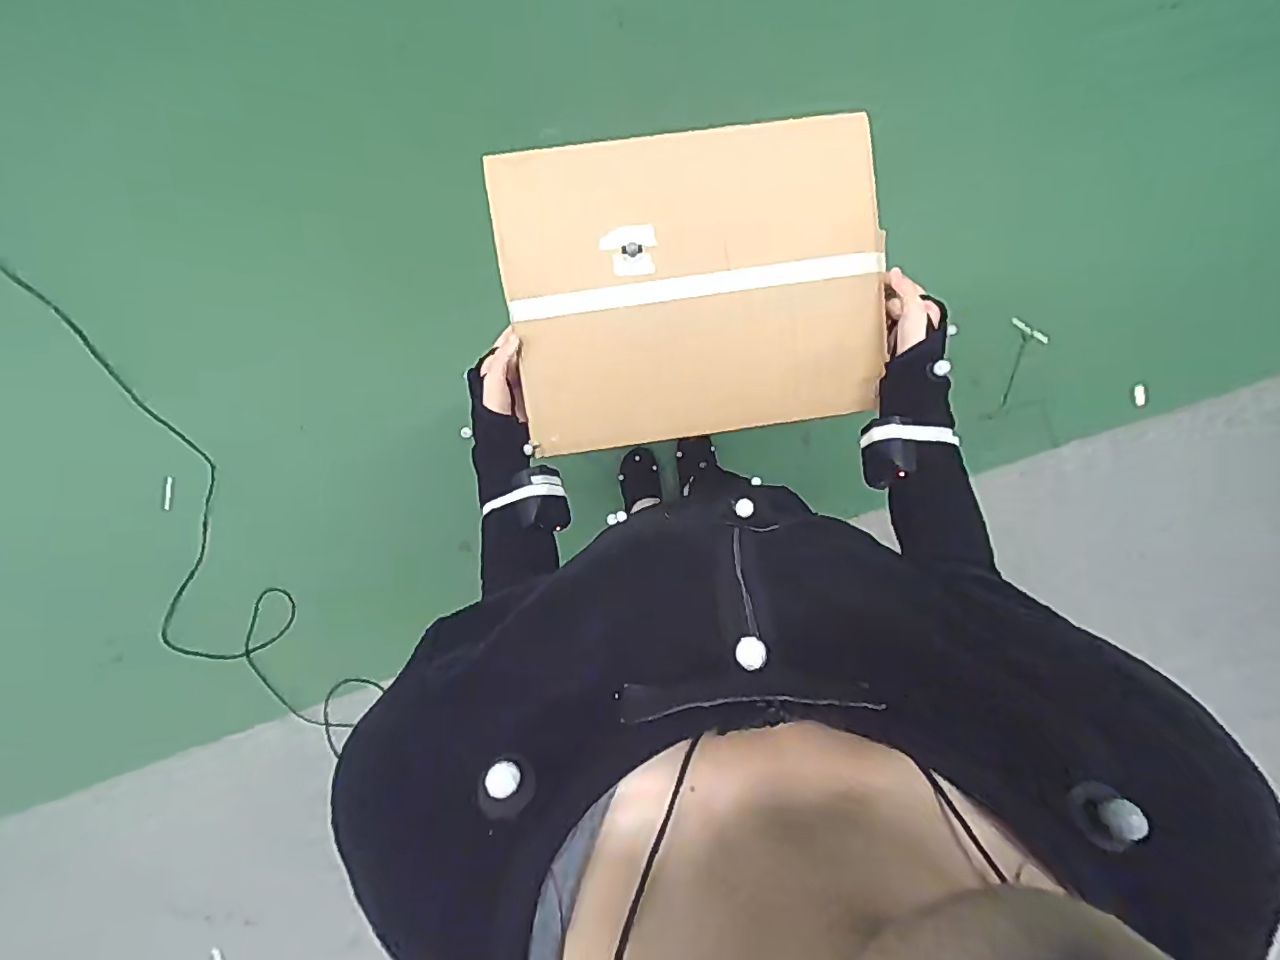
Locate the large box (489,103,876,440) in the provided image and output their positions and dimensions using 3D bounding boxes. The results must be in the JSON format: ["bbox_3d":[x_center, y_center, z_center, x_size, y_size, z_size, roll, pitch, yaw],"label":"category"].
[{"bbox_3d":[0.051,-0.247,0.735,0.408,0.320,0.320,-7,99,-2],"label":"large box"}]
